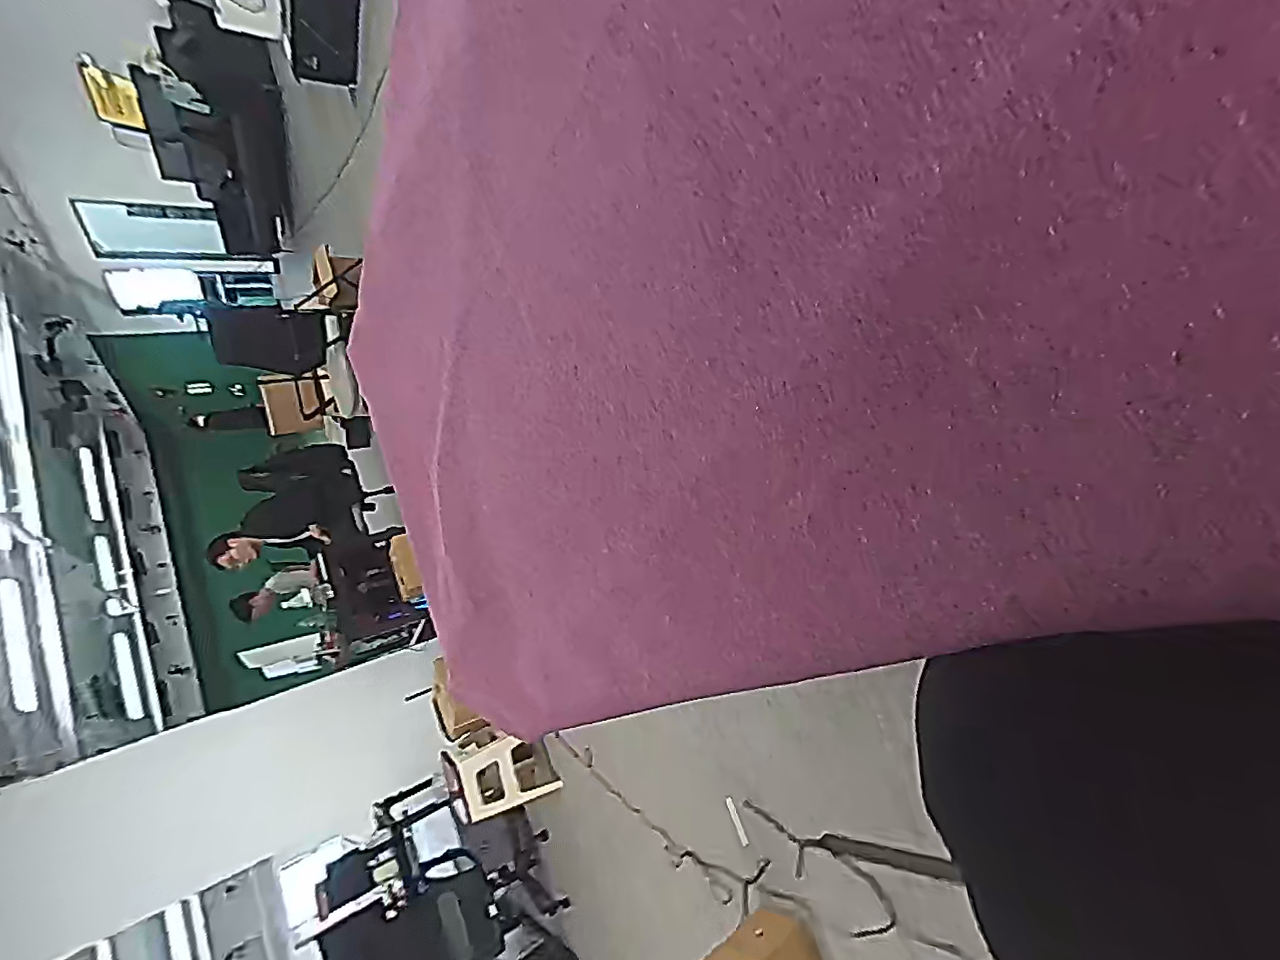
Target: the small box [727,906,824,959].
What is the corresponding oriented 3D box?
[{"bbox_3d":[0.374,1.294,1.452,0.179,0.176,0.168,-40,70,52],"label":"small box"}]
